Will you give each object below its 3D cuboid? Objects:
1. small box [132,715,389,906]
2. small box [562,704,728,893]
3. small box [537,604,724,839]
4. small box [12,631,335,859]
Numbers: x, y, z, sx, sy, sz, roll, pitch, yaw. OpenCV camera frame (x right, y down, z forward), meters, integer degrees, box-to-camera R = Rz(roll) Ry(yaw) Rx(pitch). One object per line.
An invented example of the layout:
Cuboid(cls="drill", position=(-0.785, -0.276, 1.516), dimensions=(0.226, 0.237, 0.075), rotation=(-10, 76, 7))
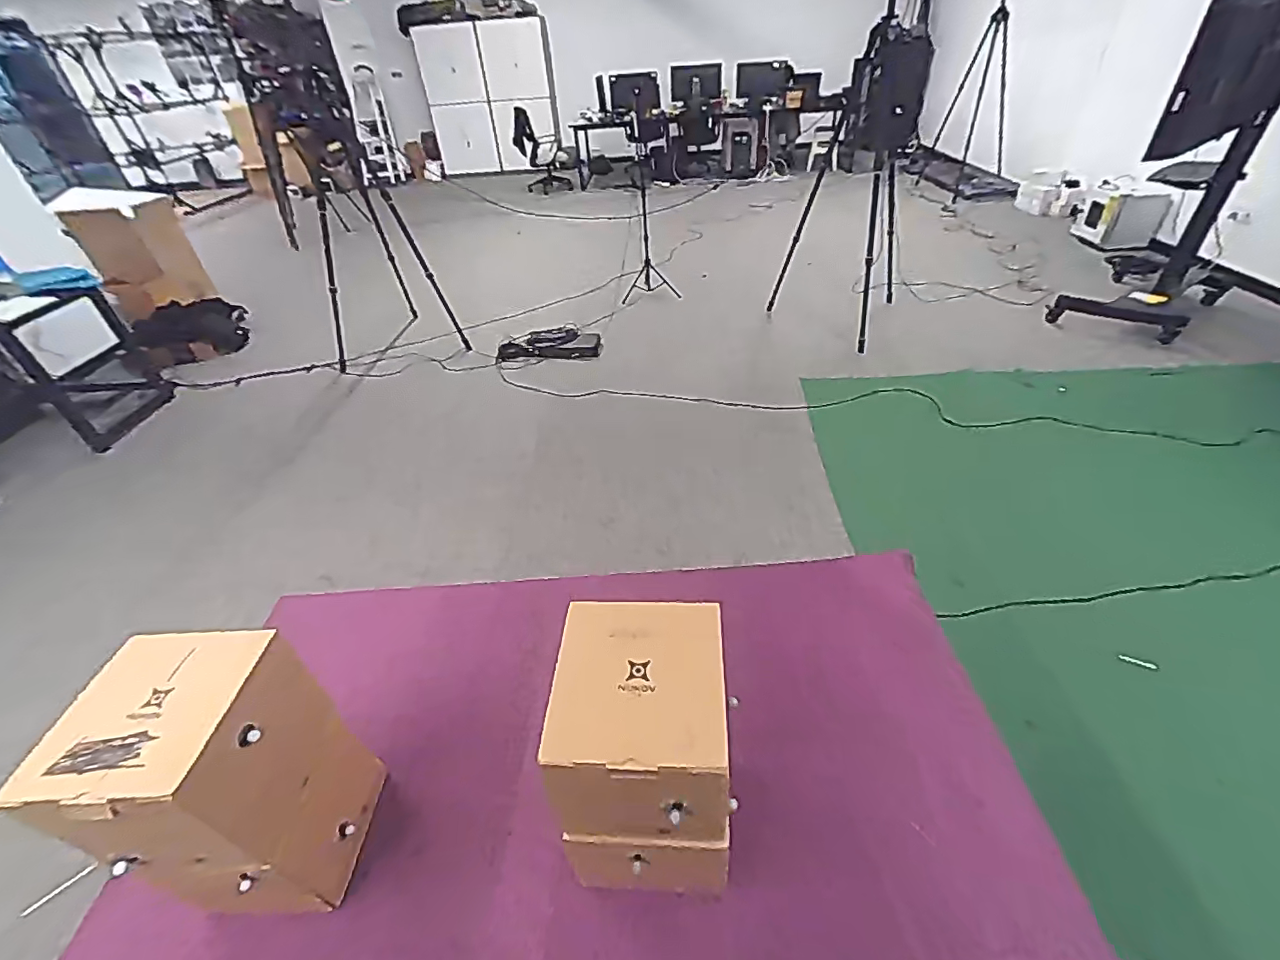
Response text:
Cuboid(cls="small box", position=(-0.458, 0.422, 0.690), dimensions=(0.179, 0.176, 0.168), rotation=(-3, 39, 3))
Cuboid(cls="small box", position=(0.018, 0.386, 0.668), dimensions=(0.179, 0.176, 0.168), rotation=(-1, 40, 7))
Cuboid(cls="small box", position=(0.004, 0.253, 0.574), dimensions=(0.168, 0.176, 0.179), rotation=(0, 38, 6))
Cuboid(cls="small box", position=(-0.473, 0.291, 0.591), dimensions=(0.168, 0.176, 0.179), rotation=(-3, 37, 2))
